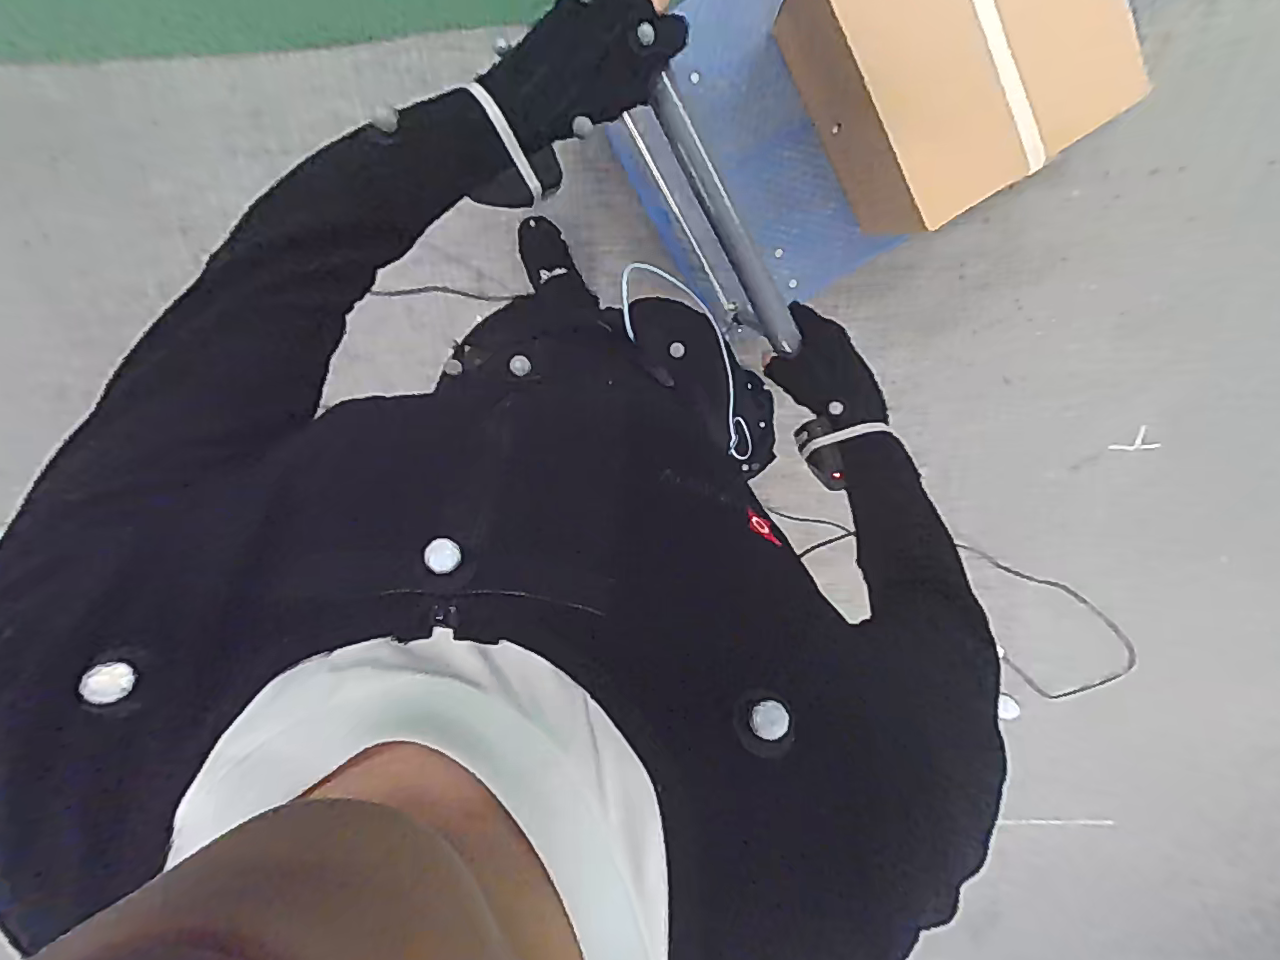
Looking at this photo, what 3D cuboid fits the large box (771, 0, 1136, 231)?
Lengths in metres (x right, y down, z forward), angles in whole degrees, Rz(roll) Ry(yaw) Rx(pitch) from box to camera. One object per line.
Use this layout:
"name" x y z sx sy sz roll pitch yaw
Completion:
"large box" 0.457 -0.668 0.862 0.320 0.320 0.408 -31 108 15
